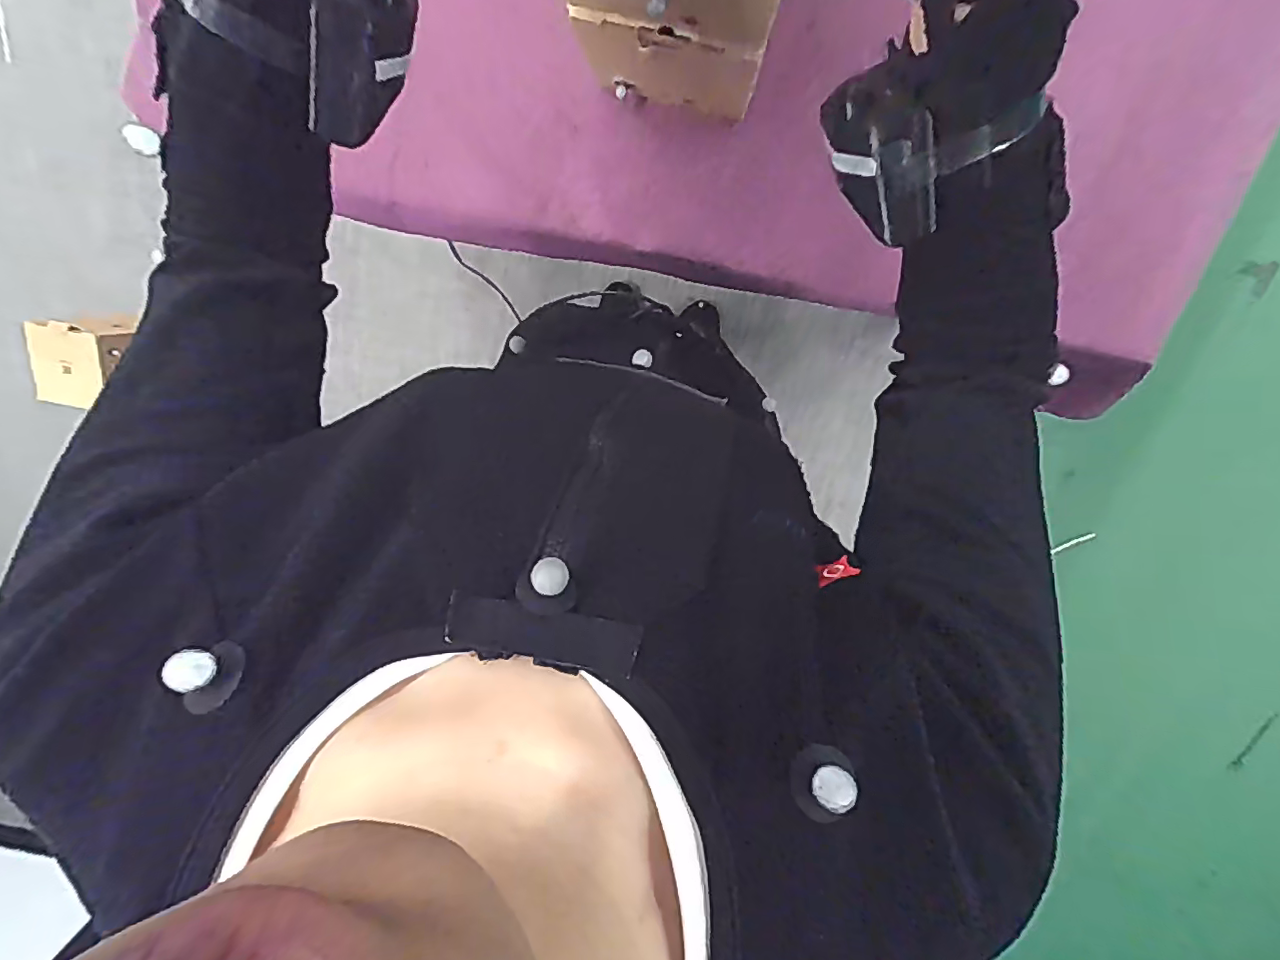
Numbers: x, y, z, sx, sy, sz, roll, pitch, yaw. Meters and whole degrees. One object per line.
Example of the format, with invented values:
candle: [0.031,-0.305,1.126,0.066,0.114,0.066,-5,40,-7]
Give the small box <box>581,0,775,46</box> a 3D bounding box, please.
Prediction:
small box: [0.031,-0.421,0.334,0.168,0.176,0.179,14,110,1]

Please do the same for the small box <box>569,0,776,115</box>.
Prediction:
small box: [0.046,-0.467,0.492,0.168,0.176,0.179,14,109,0]

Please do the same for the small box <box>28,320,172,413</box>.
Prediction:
small box: [-1.256,-0.273,1.274,0.168,0.176,0.179,11,109,1]
